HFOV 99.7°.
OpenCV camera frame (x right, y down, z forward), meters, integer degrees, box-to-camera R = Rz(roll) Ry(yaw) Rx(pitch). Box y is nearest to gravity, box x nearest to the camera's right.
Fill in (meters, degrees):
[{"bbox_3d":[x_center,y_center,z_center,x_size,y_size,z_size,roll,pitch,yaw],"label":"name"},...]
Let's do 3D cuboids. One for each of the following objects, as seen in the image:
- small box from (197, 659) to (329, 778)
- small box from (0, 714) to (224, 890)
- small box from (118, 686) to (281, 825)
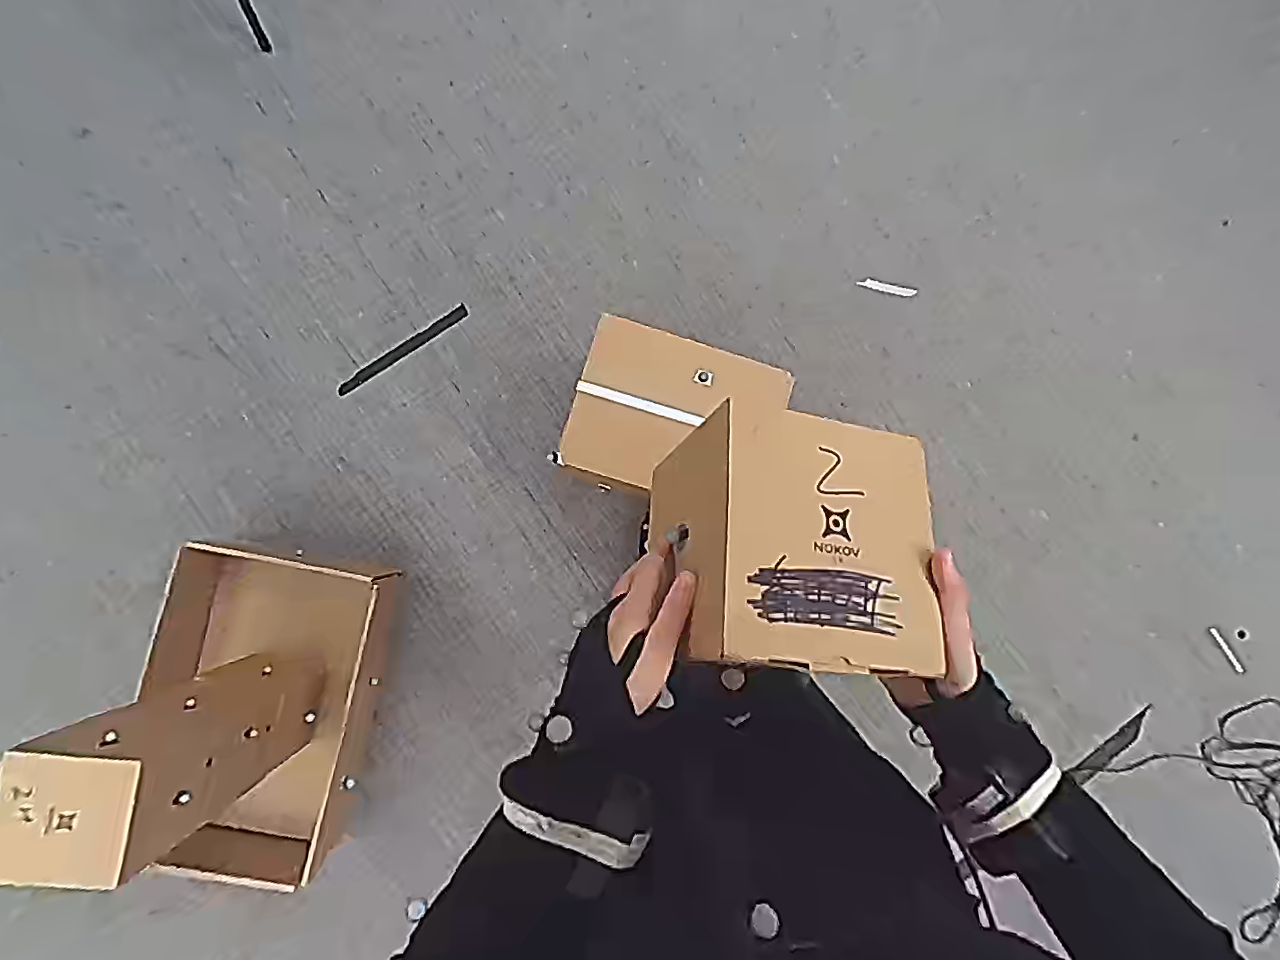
[{"bbox_3d":[-0.789,0.483,1.120,0.179,0.176,0.168,12,85,-4],"label":"small box"},{"bbox_3d":[-0.763,0.459,0.795,0.179,0.176,0.168,7,83,-5],"label":"small box"},{"bbox_3d":[-0.780,0.477,0.958,0.179,0.176,0.168,7,84,-3],"label":"small box"}]
